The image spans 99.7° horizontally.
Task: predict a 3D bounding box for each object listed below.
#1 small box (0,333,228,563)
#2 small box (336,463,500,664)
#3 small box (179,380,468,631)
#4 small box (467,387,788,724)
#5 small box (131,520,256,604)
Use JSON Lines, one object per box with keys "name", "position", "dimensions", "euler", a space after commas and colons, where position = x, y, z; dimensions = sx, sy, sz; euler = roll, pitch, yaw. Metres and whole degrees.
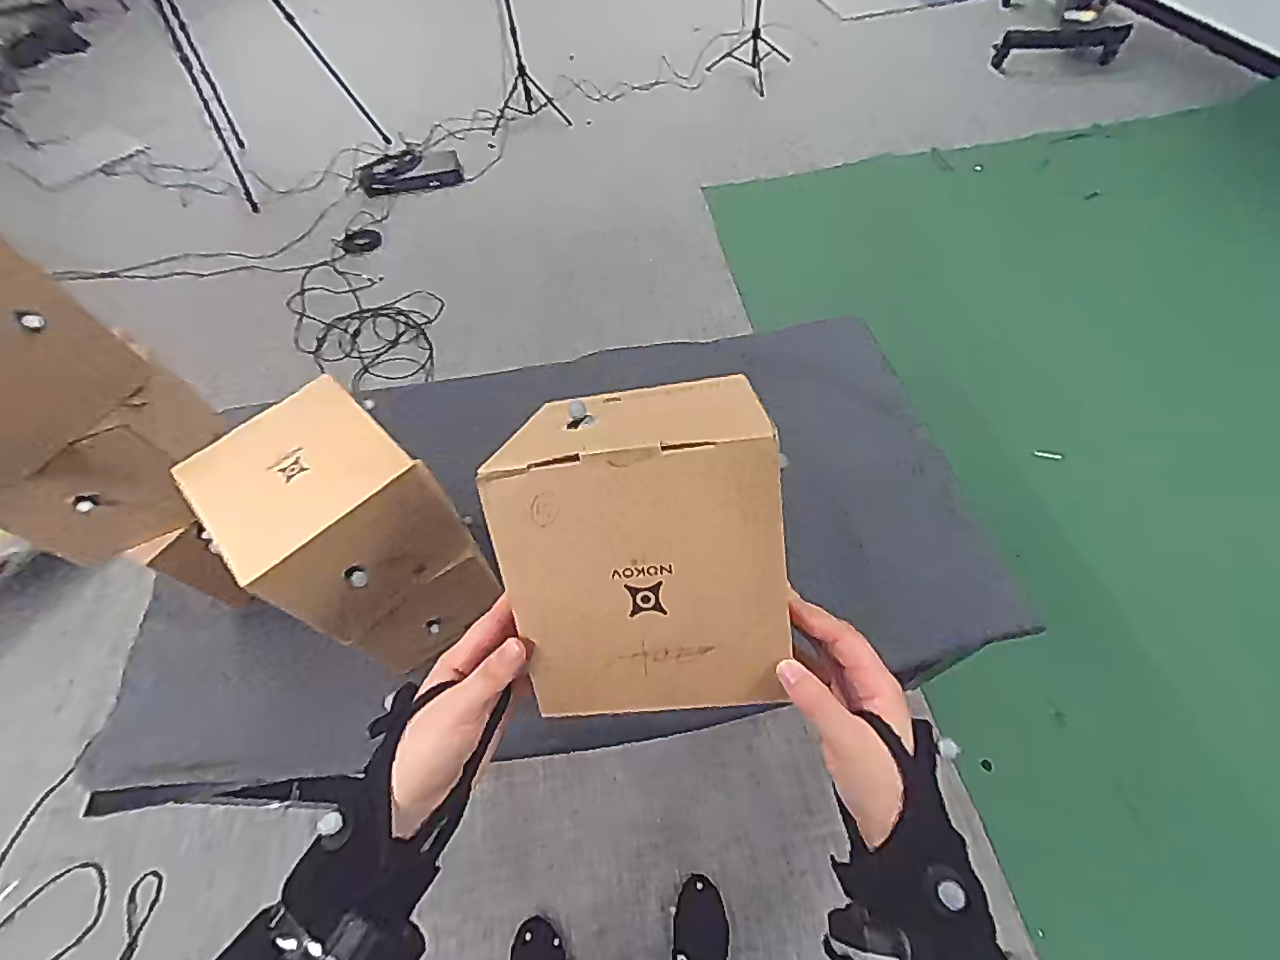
{"name": "small box", "position": [-0.621, -0.032, 0.635], "dimensions": [0.179, 0.176, 0.168], "euler": [-26, 60, -11]}
{"name": "small box", "position": [-0.296, 0.118, 0.707], "dimensions": [0.168, 0.176, 0.179], "euler": [-31, 59, -16]}
{"name": "small box", "position": [-0.313, 0.036, 0.567], "dimensions": [0.179, 0.176, 0.168], "euler": [38, 67, 26]}
{"name": "small box", "position": [0.004, 0.039, 0.383], "dimensions": [0.168, 0.179, 0.176], "euler": [-7, 22, 8]}
{"name": "small box", "position": [-0.611, 0.053, 0.776], "dimensions": [0.179, 0.176, 0.168], "euler": [25, 63, 19]}
